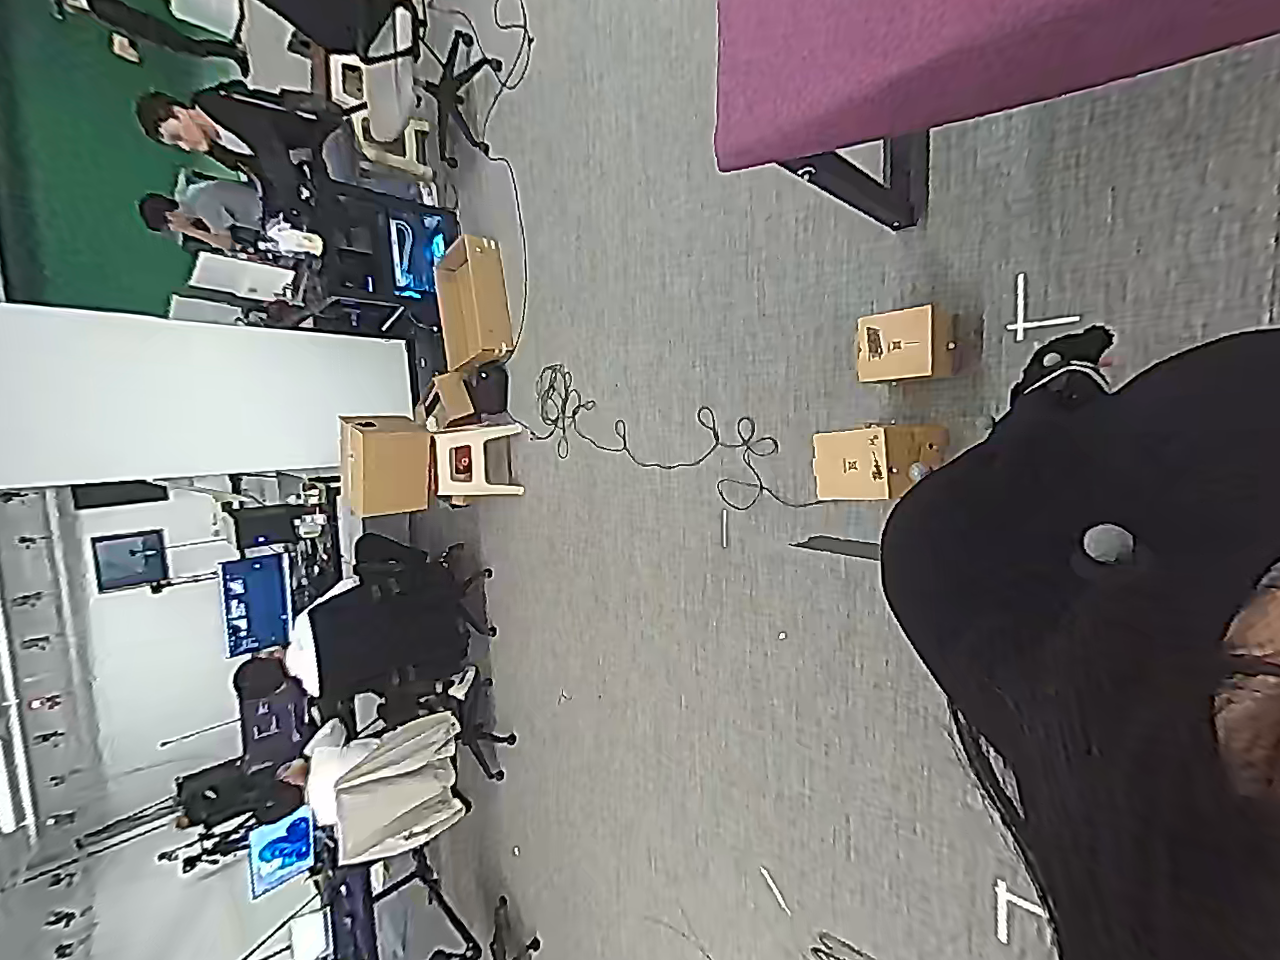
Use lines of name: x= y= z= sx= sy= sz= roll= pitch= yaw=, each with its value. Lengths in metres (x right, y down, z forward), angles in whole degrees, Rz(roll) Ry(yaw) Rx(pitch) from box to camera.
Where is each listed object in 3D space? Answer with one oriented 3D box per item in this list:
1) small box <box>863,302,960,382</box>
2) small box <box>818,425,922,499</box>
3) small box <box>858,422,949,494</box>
small box: x=0.685 y=-0.339 z=1.363 sx=0.179 sy=0.176 sz=0.168 roll=2 pitch=97 yaw=45
small box: x=0.556 y=-0.043 z=1.307 sx=0.179 sy=0.176 sz=0.168 roll=-3 pitch=93 yaw=47
small box: x=0.682 y=-0.064 z=1.410 sx=0.179 sy=0.176 sz=0.168 roll=11 pitch=103 yaw=46
